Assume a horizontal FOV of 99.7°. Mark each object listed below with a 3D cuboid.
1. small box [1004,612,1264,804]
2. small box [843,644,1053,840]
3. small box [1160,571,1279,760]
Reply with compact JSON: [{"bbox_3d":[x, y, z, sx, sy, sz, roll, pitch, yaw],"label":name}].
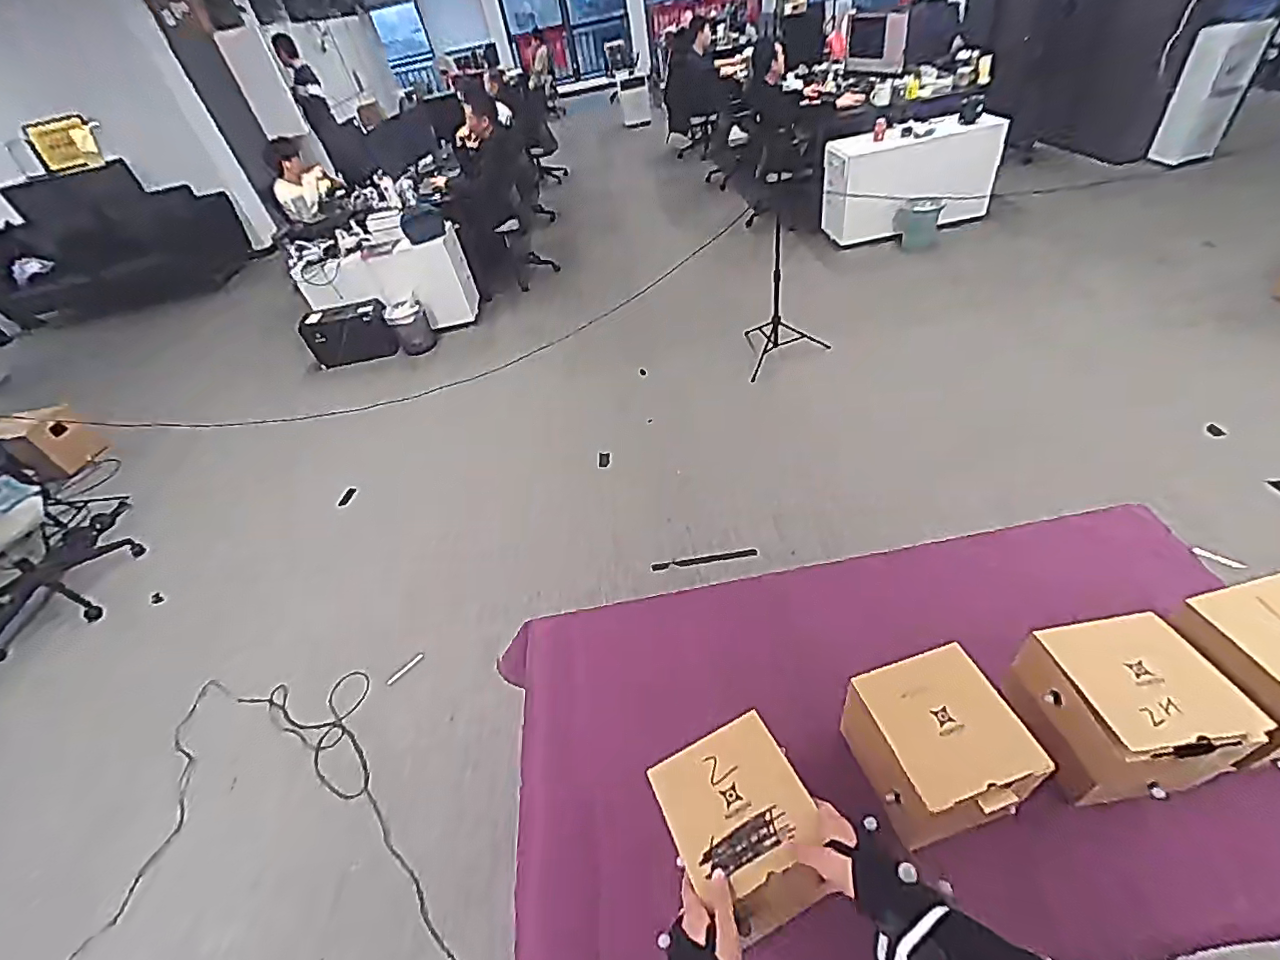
[{"bbox_3d":[0.641,0.310,0.737,0.168,0.176,0.179,-11,42,3],"label":"small box"},{"bbox_3d":[0.400,0.364,0.741,0.168,0.176,0.179,-17,42,-5],"label":"small box"},{"bbox_3d":[0.855,0.258,0.740,0.168,0.176,0.179,-15,41,-2],"label":"small box"}]
